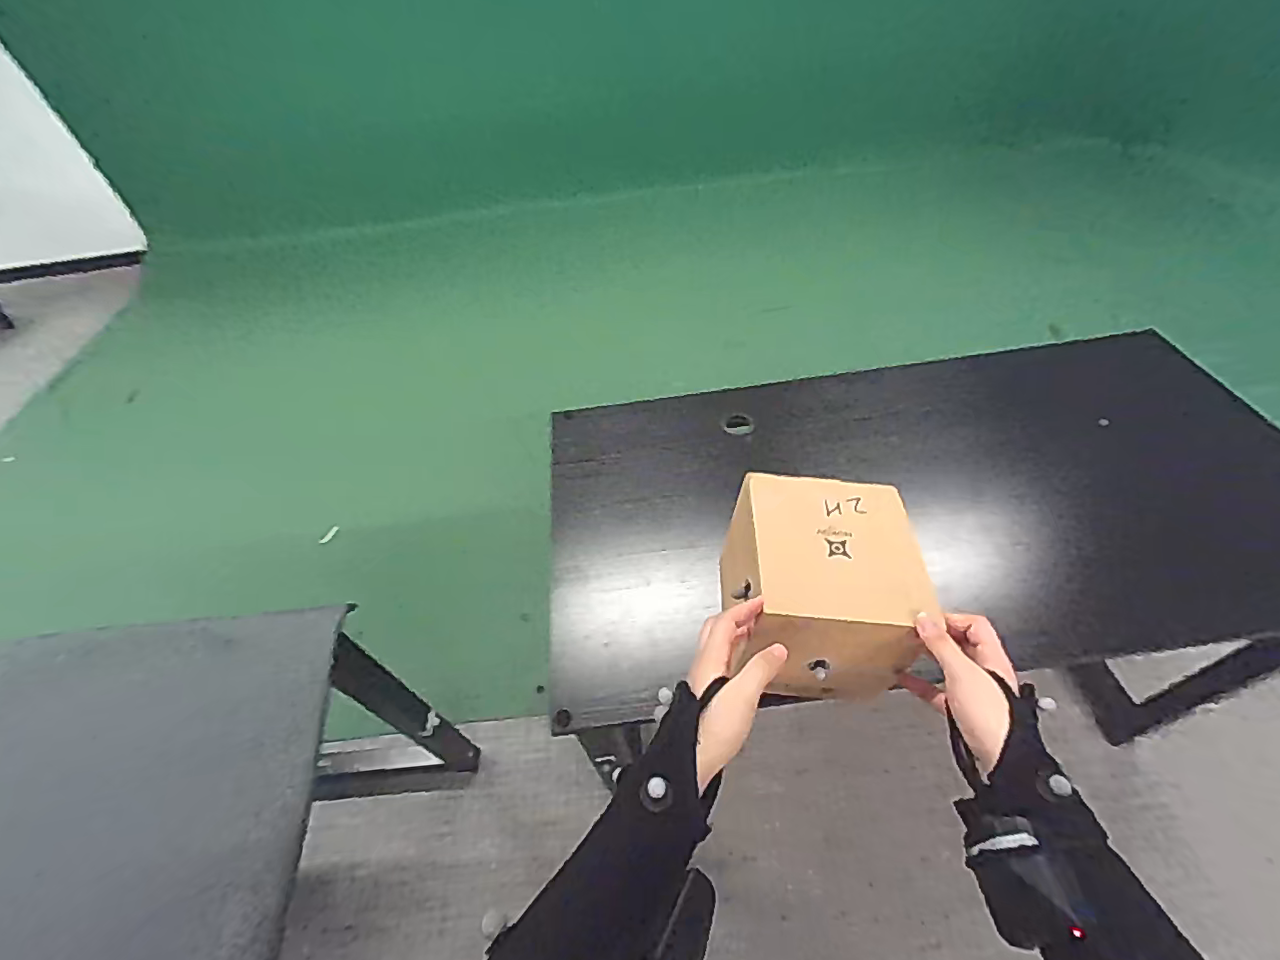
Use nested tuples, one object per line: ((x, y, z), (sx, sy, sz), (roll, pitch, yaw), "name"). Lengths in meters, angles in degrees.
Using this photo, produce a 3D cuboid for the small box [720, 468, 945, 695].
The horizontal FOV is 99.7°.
((0.183, 0.112, 0.578), (0.168, 0.176, 0.179), (5, 47, -1), "small box")
